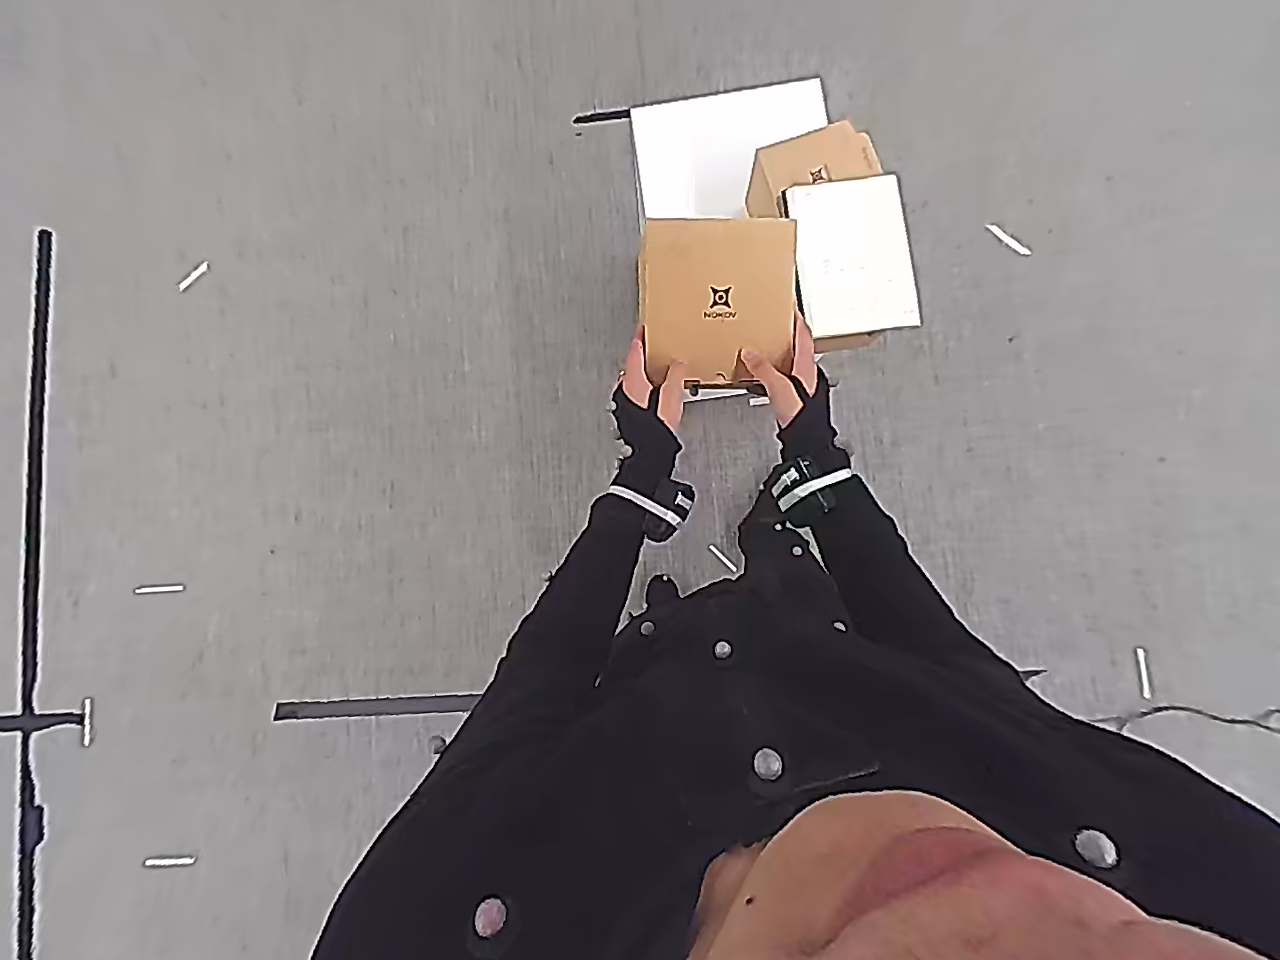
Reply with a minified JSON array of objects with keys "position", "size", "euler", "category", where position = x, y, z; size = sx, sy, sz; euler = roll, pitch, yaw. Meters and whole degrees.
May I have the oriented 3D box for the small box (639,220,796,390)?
[{"position":[0.084,-0.204,0.672],"size":[0.168,0.176,0.179],"euler":[-1,99,-2],"category":"small box"}]
